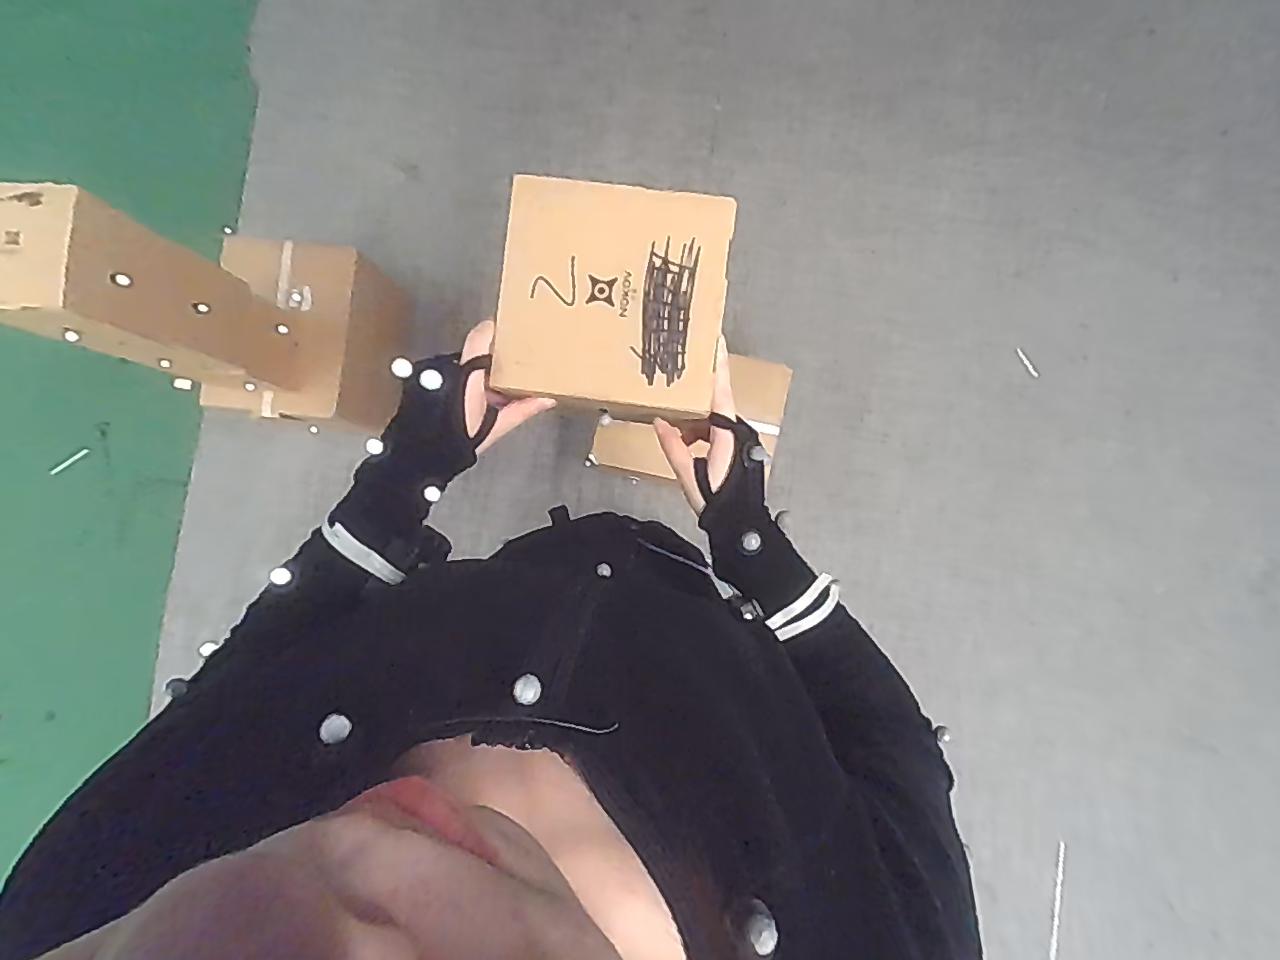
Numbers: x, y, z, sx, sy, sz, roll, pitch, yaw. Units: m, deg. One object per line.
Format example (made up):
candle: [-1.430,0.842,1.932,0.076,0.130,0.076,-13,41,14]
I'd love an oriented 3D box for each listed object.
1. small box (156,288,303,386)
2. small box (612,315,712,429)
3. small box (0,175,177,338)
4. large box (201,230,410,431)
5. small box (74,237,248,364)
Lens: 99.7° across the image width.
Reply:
small box: [-0.844,-0.298,1.130,0.179,0.176,0.168,5,86,1]
small box: [0.044,-0.215,1.133,0.168,0.176,0.179,13,85,0]
small box: [-0.840,-0.320,0.803,0.168,0.176,0.179,3,87,0]
large box: [-0.821,-0.353,1.377,0.320,0.320,0.408,6,86,0]
small box: [-0.842,-0.313,0.967,0.168,0.176,0.179,1,86,-1]
